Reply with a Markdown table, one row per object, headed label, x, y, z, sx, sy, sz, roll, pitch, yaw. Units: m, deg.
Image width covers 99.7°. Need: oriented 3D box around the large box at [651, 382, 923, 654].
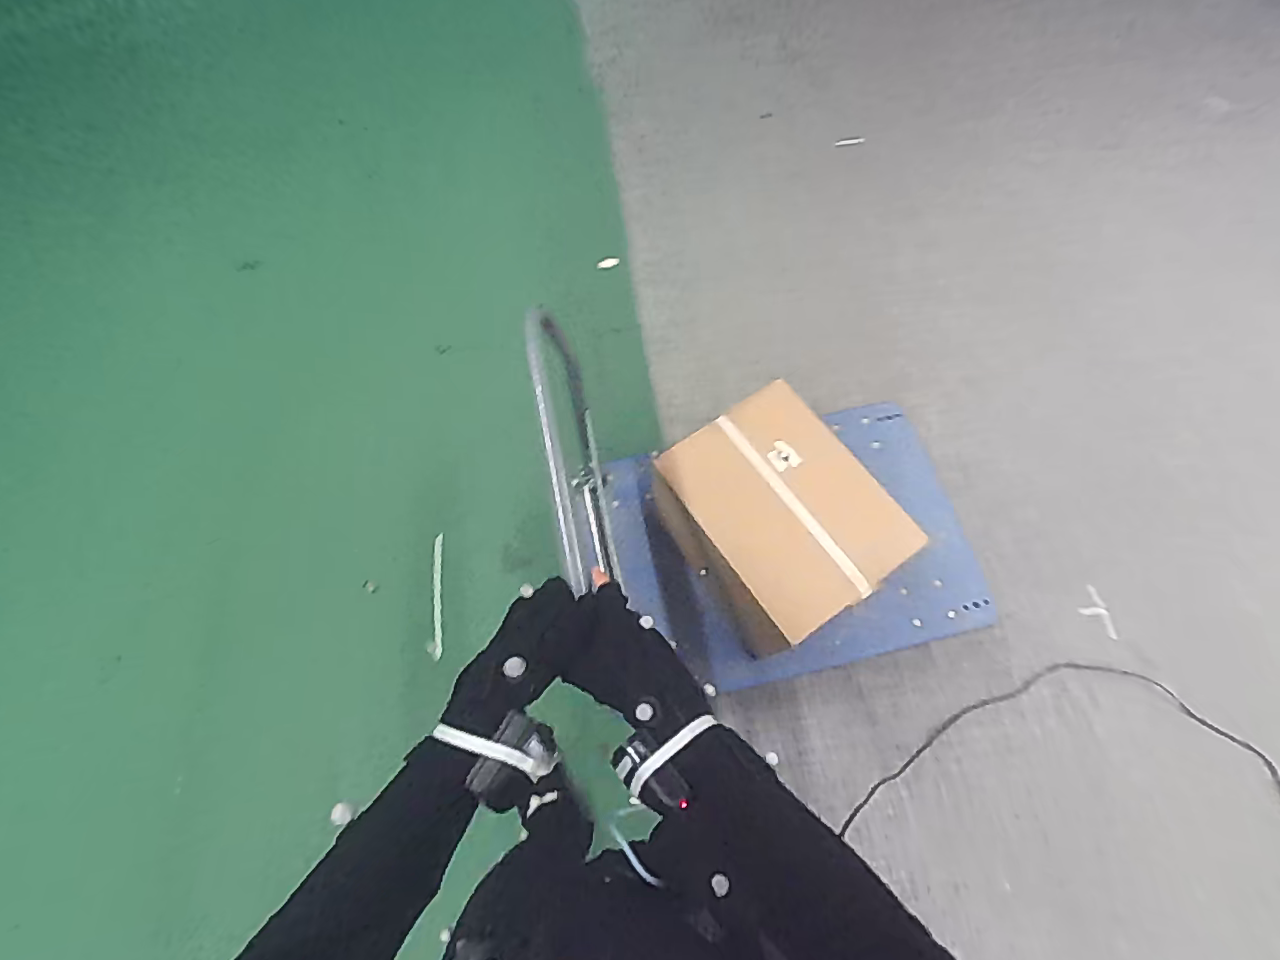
| label | x | y | z | sx | sy | sz | roll | pitch | yaw |
| --- | --- | --- | --- | --- | --- | --- | --- | --- | --- |
| large box | 0.264 | 0.091 | 1.108 | 0.320 | 0.320 | 0.408 | -32 | 70 | -11 |
